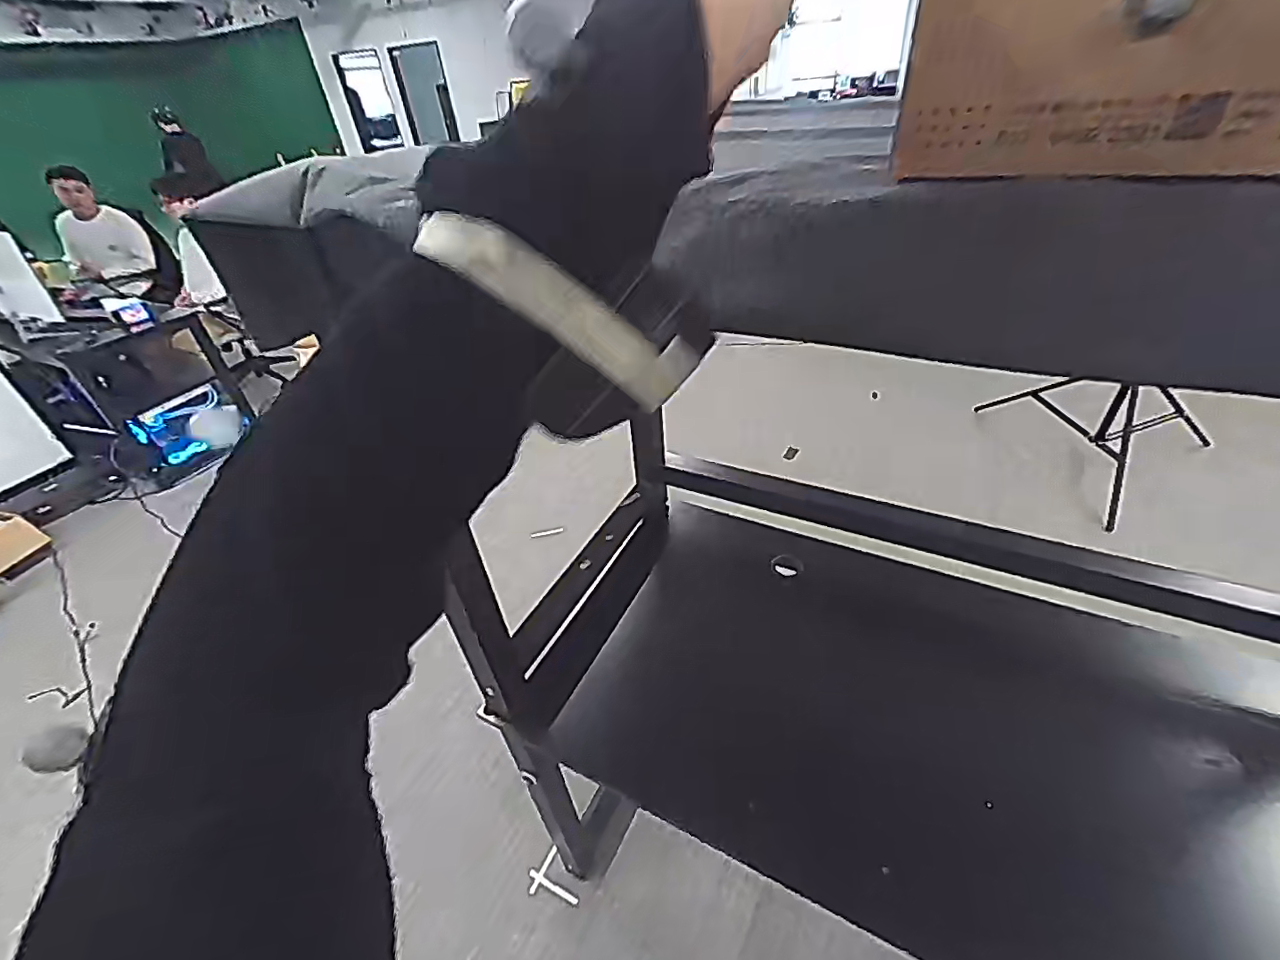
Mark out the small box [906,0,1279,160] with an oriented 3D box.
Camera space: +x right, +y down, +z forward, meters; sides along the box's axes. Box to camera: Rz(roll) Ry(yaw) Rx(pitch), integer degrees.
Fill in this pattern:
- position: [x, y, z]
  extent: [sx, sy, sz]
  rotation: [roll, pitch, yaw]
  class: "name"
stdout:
- position: [0.225, -0.242, 0.229]
  extent: [0.168, 0.176, 0.179]
  rotation: [14, 39, 25]
  class: "small box"
